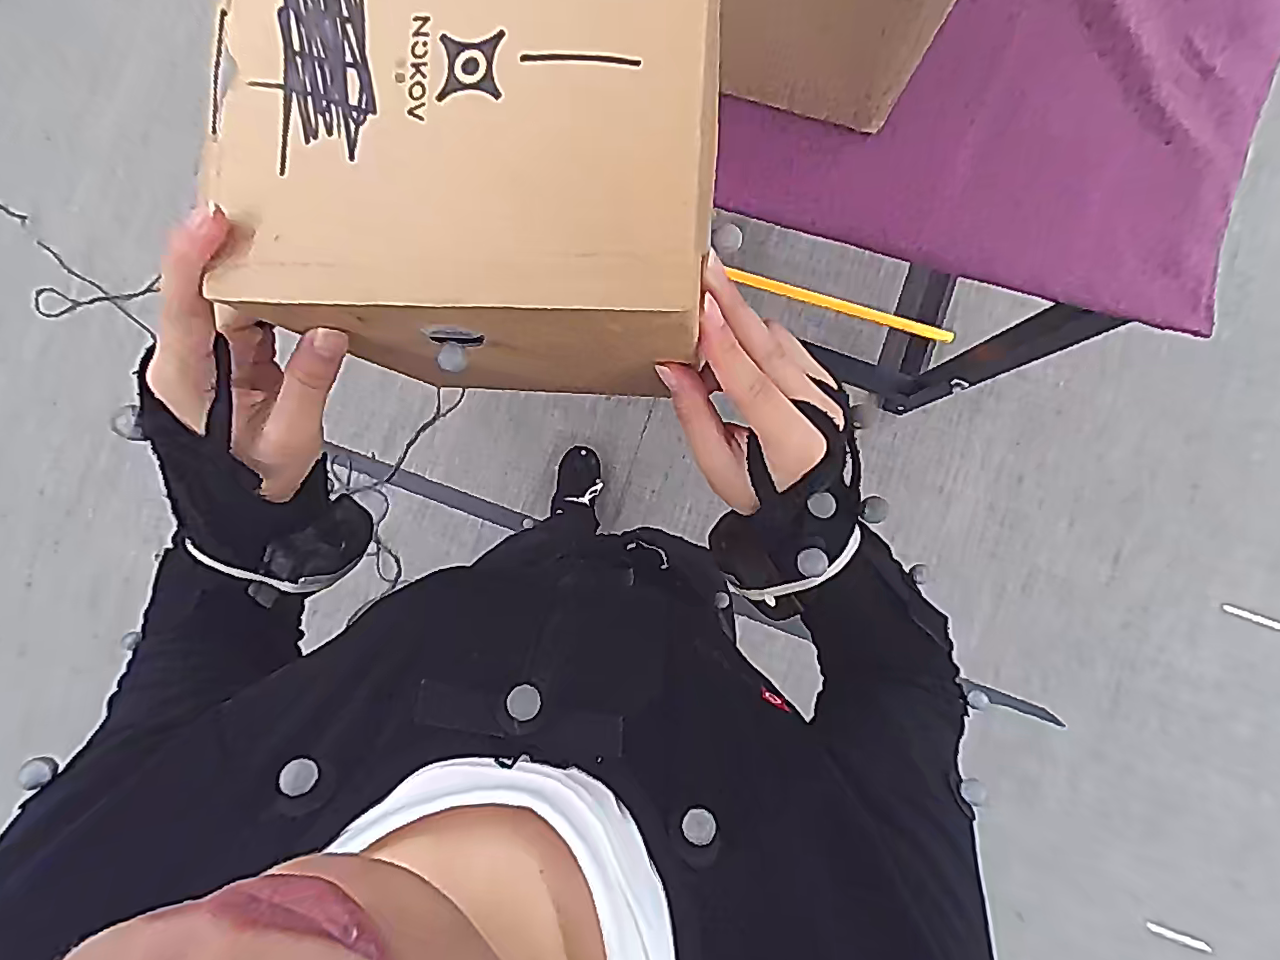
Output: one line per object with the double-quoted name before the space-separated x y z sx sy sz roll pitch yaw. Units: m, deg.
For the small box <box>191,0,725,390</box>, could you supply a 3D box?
"small box" -0.054 -0.141 0.257 0.179 0.176 0.168 4 90 7
